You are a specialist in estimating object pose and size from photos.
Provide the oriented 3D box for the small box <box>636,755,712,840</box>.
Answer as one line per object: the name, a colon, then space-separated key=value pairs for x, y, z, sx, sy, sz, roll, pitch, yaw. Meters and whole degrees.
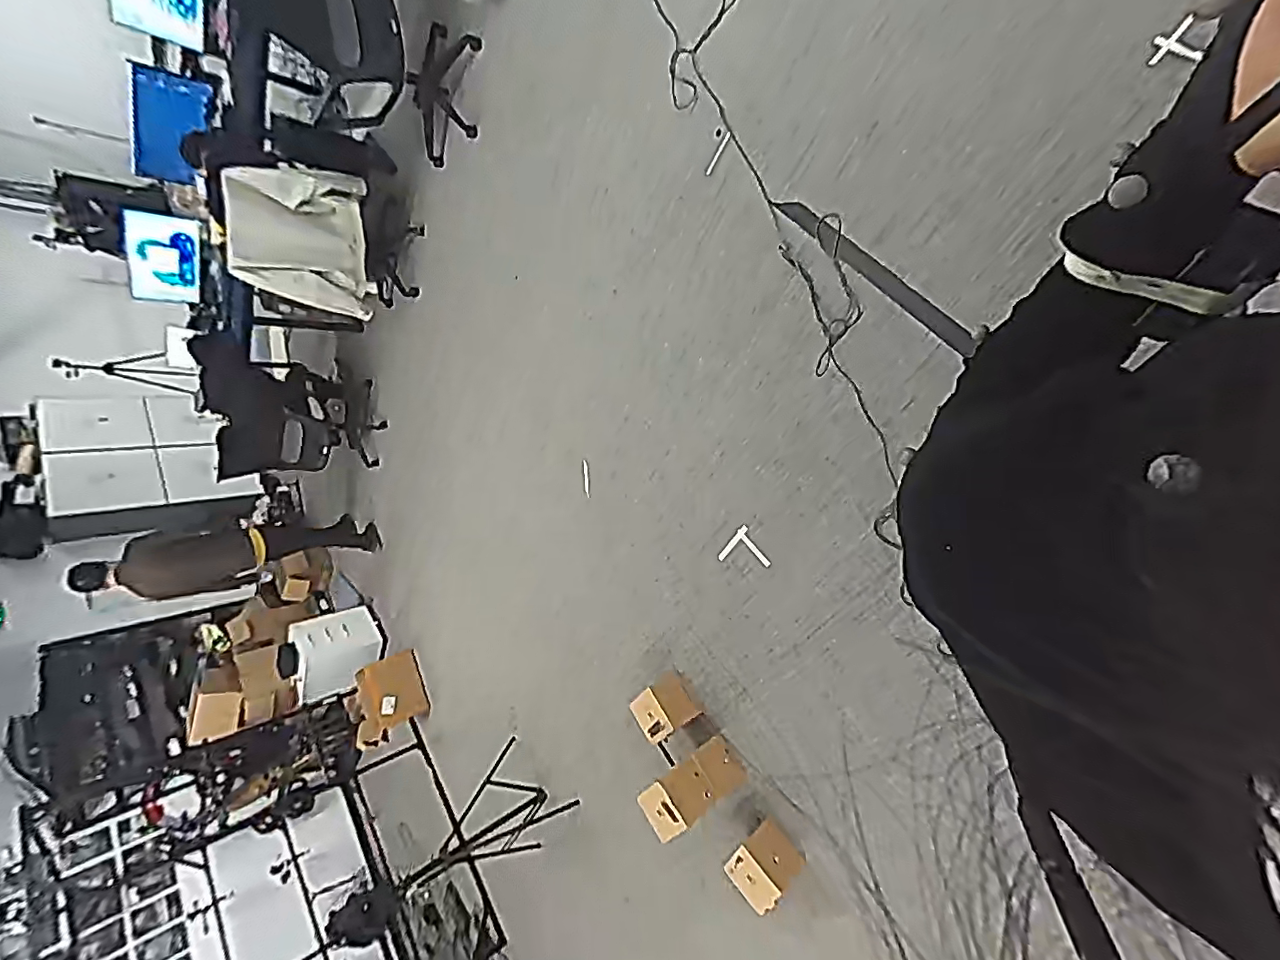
small box: x=0.123 y=1.091 z=1.869 sx=0.168 sy=0.176 sz=0.179 roll=52 pitch=129 yaw=25

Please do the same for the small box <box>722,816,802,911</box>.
small box: x=0.421 y=1.303 z=1.850 sx=0.179 sy=0.176 sz=0.168 roll=40 pitch=123 yaw=31

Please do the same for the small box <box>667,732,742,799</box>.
small box: x=0.240 y=1.061 z=1.982 sx=0.168 sy=0.176 sz=0.179 roll=54 pitch=129 yaw=23
